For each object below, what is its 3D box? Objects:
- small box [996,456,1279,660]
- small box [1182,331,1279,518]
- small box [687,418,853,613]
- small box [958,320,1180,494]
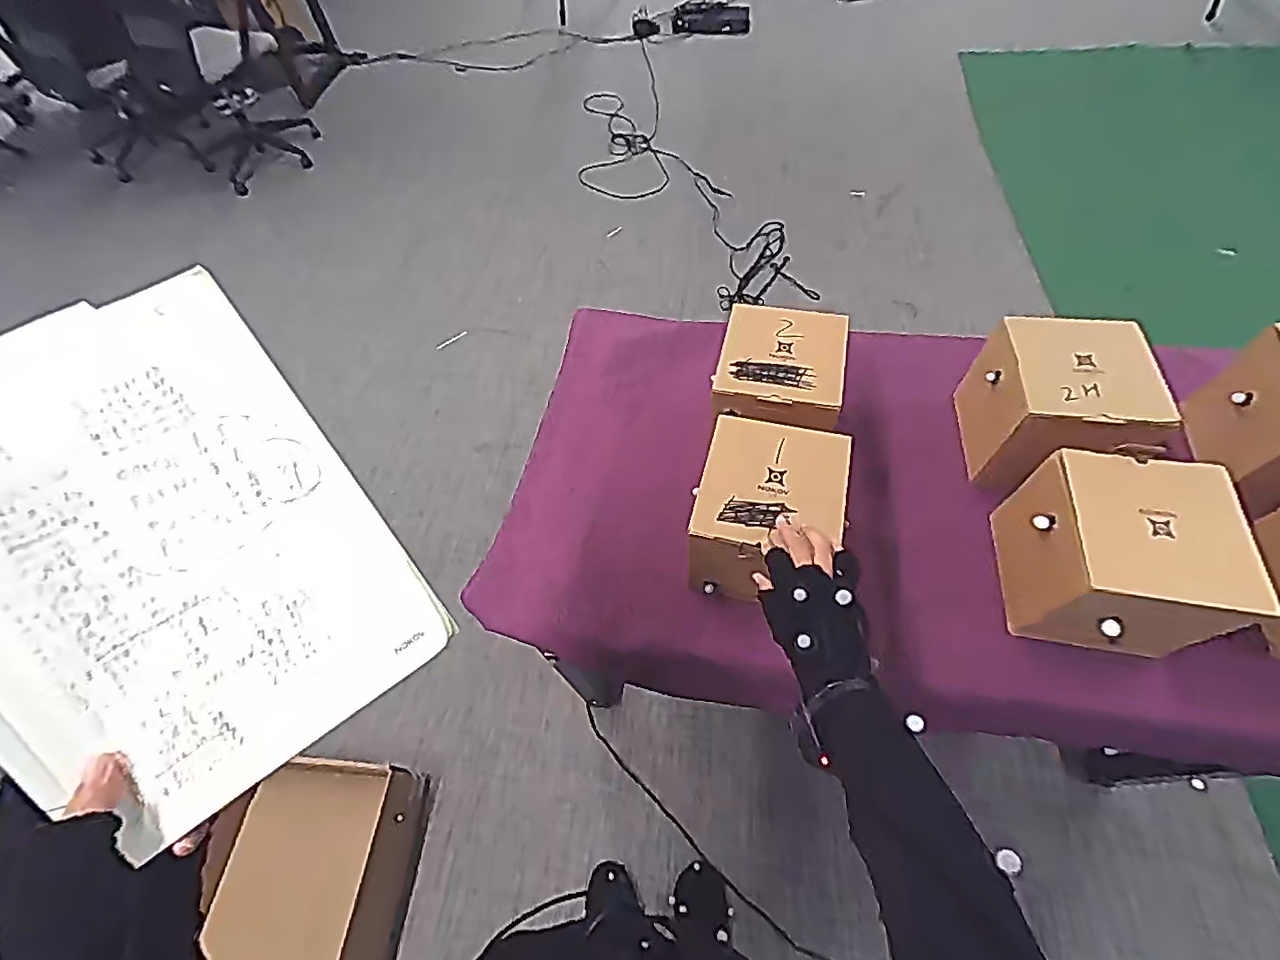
[{"bbox_3d":[0.551,0.097,0.634,0.168,0.176,0.179,8,60,10],"label":"small box"},{"bbox_3d":[0.876,-0.064,0.706,0.168,0.176,0.179,10,59,11],"label":"small box"},{"bbox_3d":[0.161,0.051,0.693,0.168,0.176,0.179,12,59,12],"label":"small box"},{"bbox_3d":[0.567,-0.094,0.750,0.168,0.176,0.179,6,59,8],"label":"small box"}]
